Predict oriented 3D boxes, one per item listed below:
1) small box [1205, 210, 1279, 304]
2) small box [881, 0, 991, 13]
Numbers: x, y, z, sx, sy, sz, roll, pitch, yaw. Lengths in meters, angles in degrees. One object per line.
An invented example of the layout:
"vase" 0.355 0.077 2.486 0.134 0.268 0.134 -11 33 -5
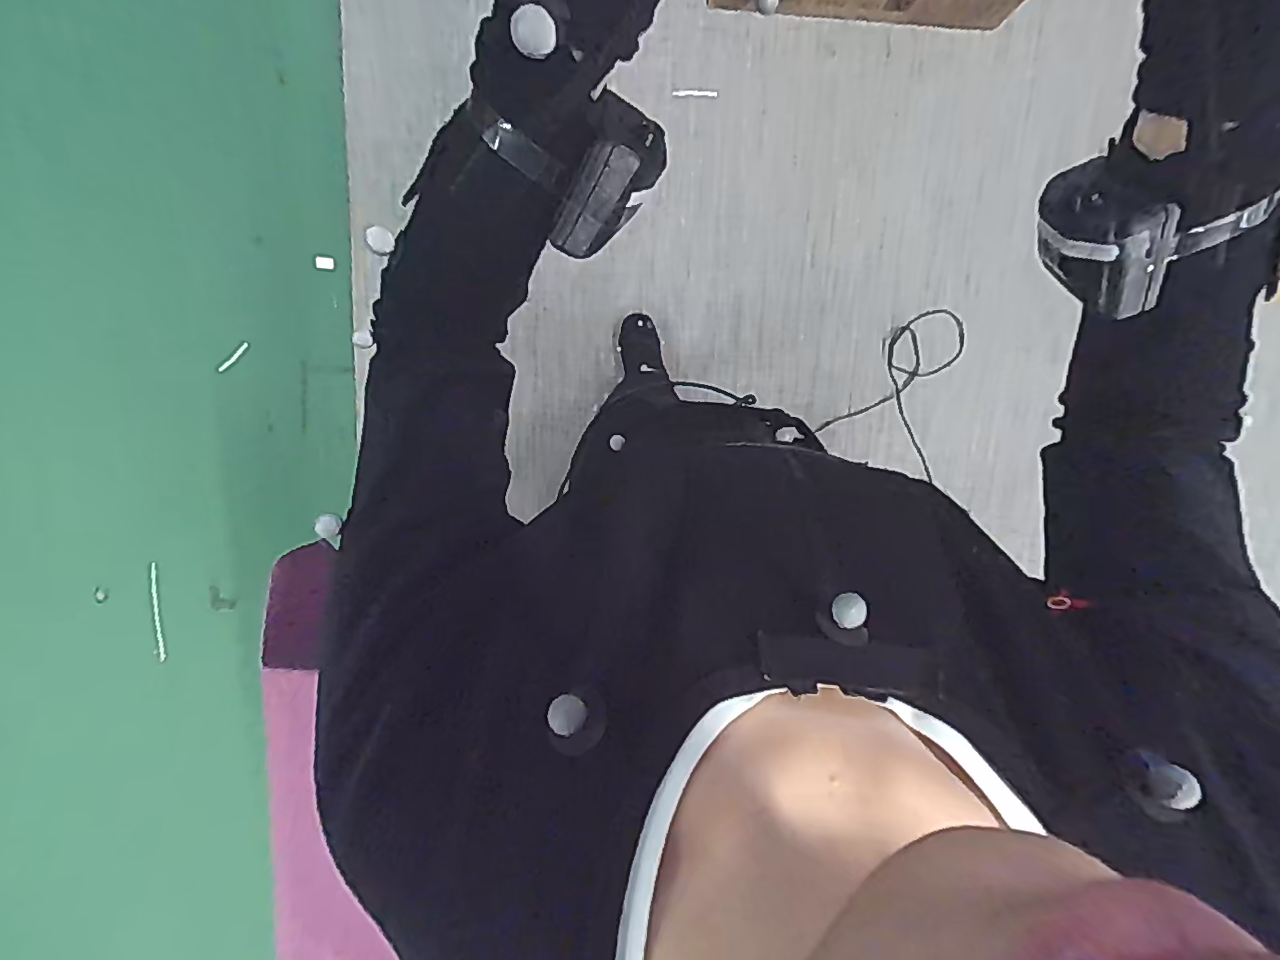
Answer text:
"small box" 1.459 -0.509 1.231 0.168 0.176 0.179 3 99 3
"small box" 0.121 -0.335 0.213 0.168 0.176 0.179 7 103 2
